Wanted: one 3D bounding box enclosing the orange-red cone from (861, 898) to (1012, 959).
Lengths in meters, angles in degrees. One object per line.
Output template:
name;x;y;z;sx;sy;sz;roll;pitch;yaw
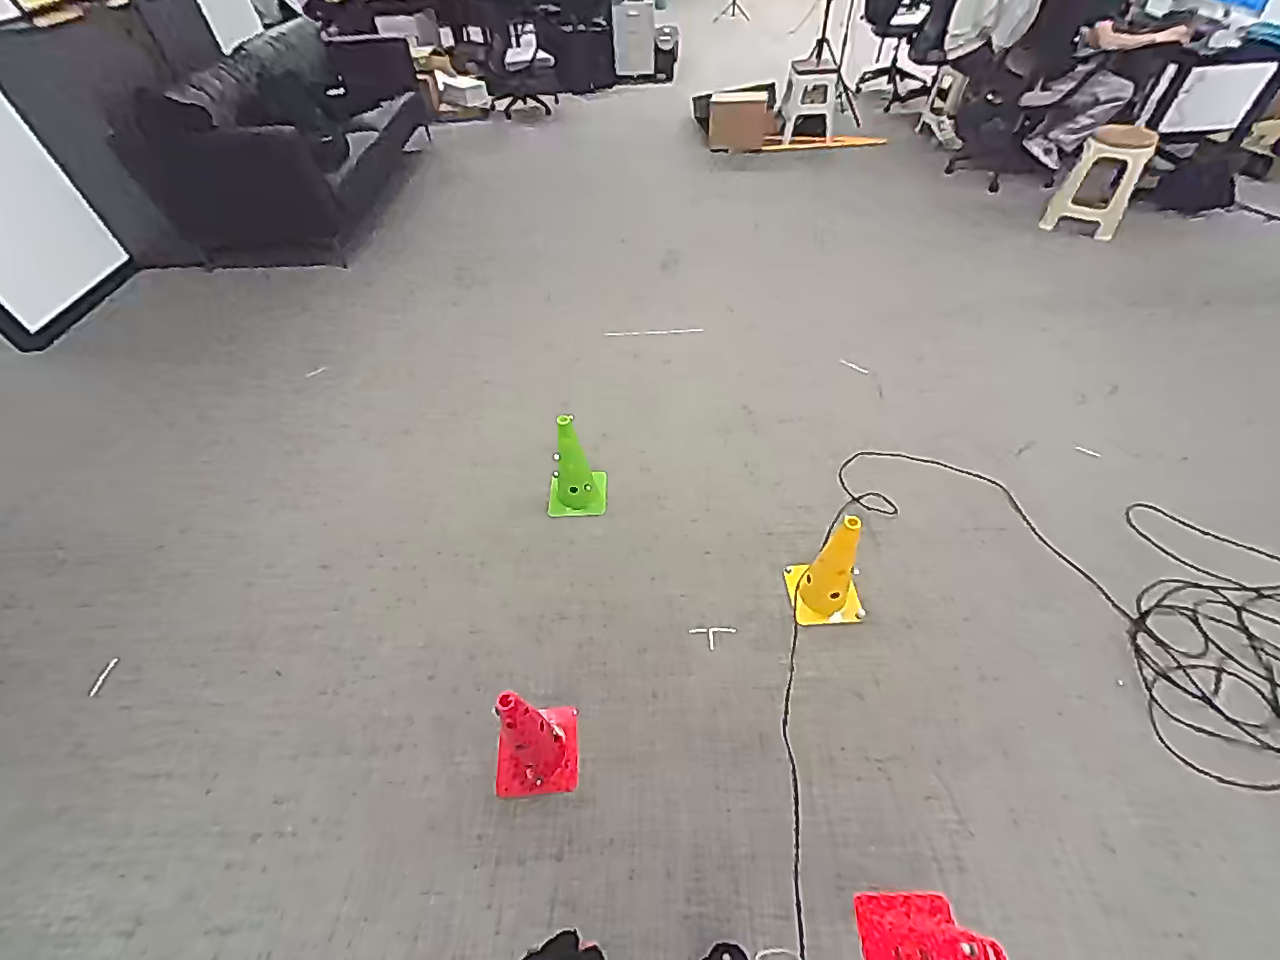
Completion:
orange-red cone;0.549;0.841;0.947;0.198;0.360;0.199;-1;47;2

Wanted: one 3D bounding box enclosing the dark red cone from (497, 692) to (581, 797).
dark red cone;-0.255;0.562;1.217;0.202;0.394;0.201;-6;50;-2

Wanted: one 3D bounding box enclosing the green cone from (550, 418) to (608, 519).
green cone;-0.220;-0.056;1.796;0.202;0.368;0.200;-2;49;0
